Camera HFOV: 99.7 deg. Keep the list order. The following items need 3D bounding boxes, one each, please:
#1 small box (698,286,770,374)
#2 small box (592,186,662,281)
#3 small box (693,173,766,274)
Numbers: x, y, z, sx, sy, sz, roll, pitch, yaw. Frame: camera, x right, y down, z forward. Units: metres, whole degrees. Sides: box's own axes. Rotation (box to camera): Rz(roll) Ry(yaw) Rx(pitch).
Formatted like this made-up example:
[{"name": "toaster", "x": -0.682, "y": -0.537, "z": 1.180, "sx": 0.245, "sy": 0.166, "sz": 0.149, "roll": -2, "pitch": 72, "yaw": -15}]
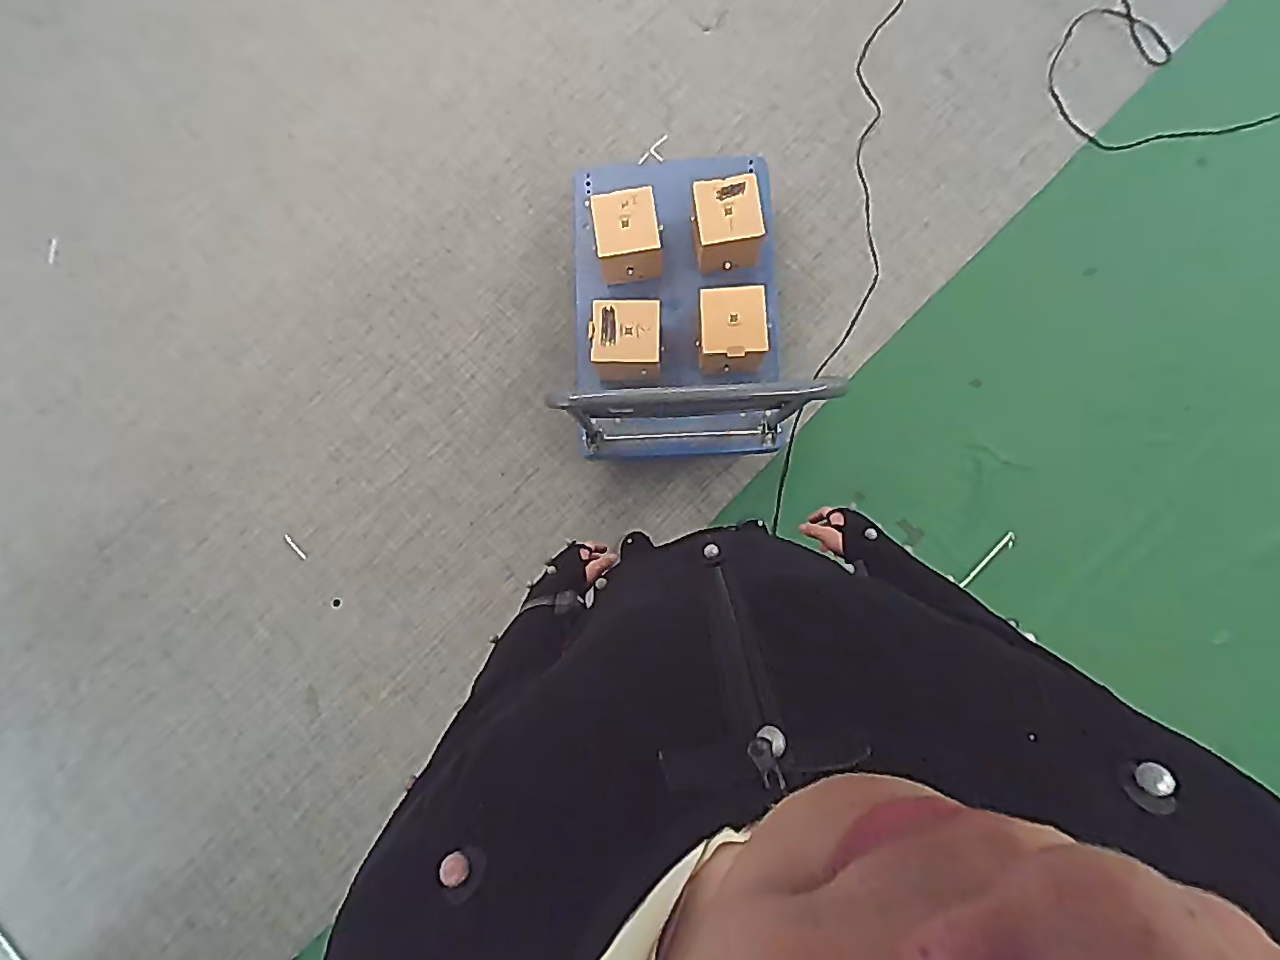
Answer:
[{"name": "small box", "x": 0.244, "y": -0.394, "z": 1.437, "sx": 0.168, "sy": 0.176, "sz": 0.179, "roll": -3, "pitch": 85, "yaw": 3}, {"name": "small box", "x": -0.031, "y": -0.662, "z": 1.478, "sx": 0.168, "sy": 0.176, "sz": 0.179, "roll": -8, "pitch": 84, "yaw": 2}, {"name": "small box", "x": 0.236, "y": -0.689, "z": 1.465, "sx": 0.168, "sy": 0.176, "sz": 0.179, "roll": -8, "pitch": 85, "yaw": 3}]
